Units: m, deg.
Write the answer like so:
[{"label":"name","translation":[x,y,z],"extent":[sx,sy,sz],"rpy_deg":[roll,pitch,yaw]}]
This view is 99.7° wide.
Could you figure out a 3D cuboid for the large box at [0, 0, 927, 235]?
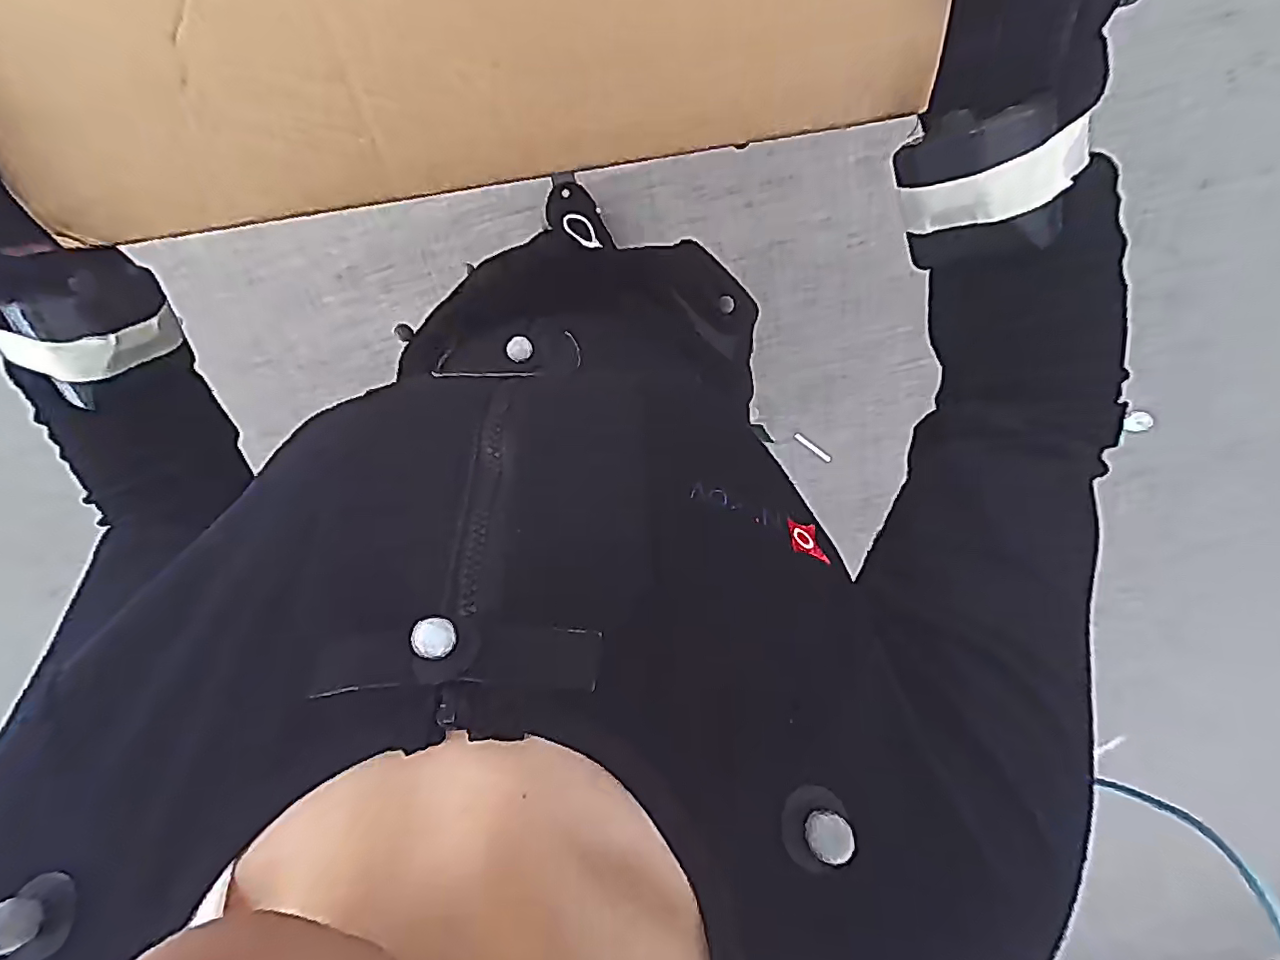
[{"label":"large box","translation":[-0.101,-0.358,0.249],"extent":[0.408,0.320,0.320],"rpy_deg":[-7,135,3]}]
